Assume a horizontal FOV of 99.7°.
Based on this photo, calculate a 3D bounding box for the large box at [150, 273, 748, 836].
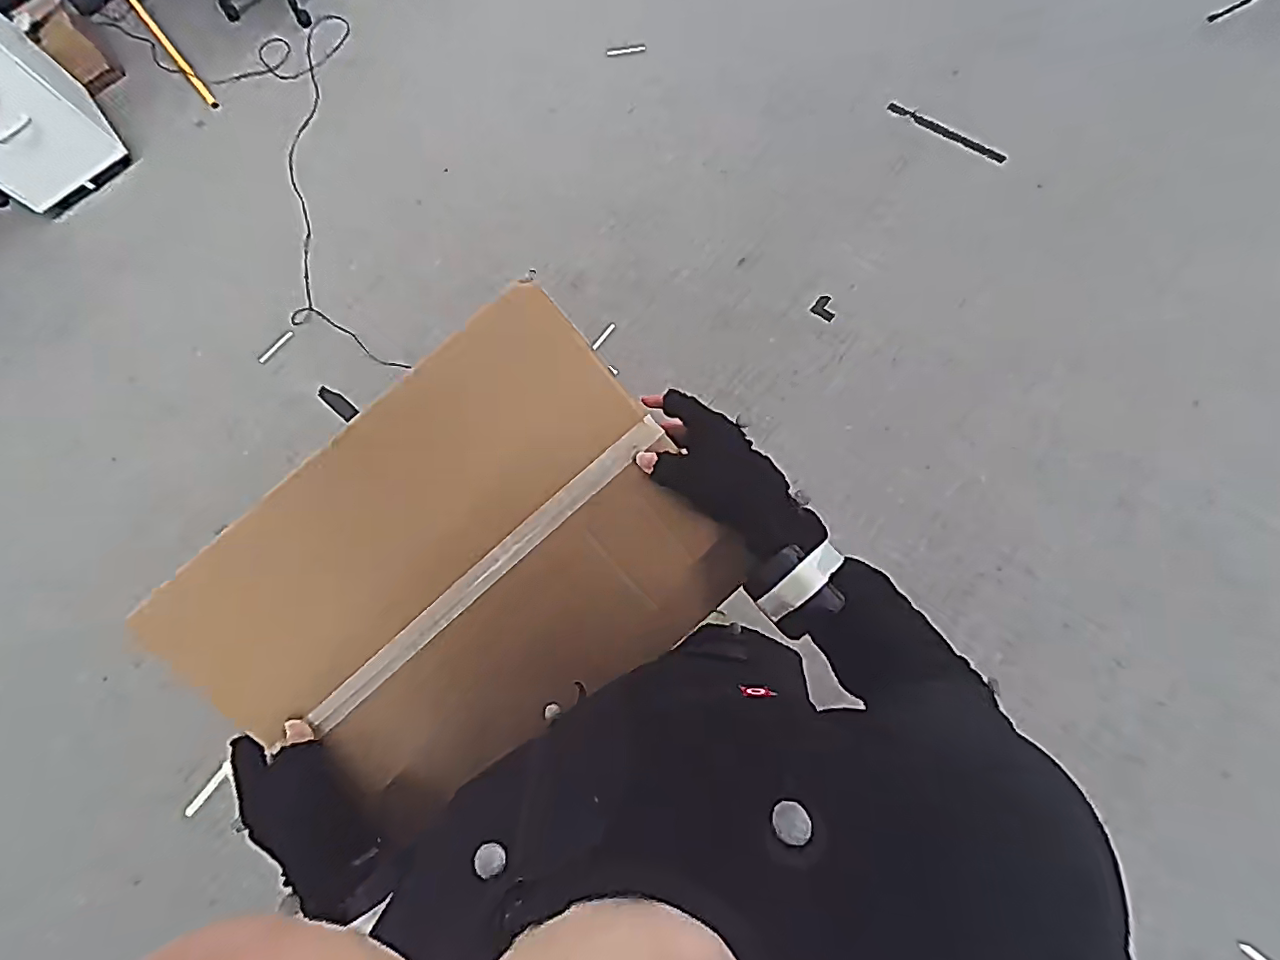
[{"bbox_3d":[-0.166,0.058,0.600,0.408,0.320,0.320,-41,103,-1],"label":"large box"}]
